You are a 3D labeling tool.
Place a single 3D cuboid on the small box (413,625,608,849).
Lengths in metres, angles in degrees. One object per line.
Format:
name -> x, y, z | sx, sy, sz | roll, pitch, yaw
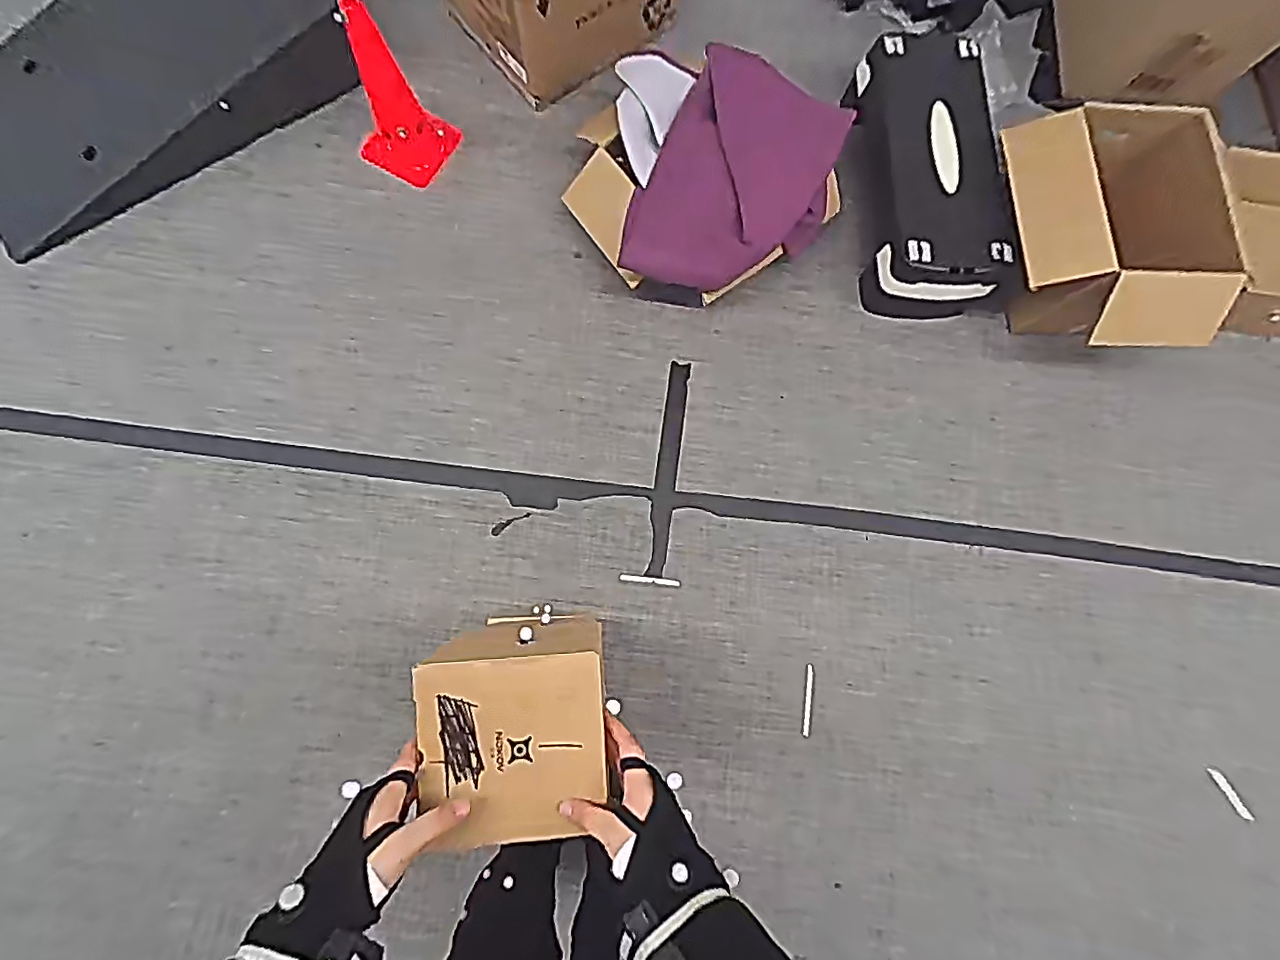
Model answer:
small box -> -0.125, 0.256, 0.580 | 0.179, 0.176, 0.168 | -4, 85, -4
